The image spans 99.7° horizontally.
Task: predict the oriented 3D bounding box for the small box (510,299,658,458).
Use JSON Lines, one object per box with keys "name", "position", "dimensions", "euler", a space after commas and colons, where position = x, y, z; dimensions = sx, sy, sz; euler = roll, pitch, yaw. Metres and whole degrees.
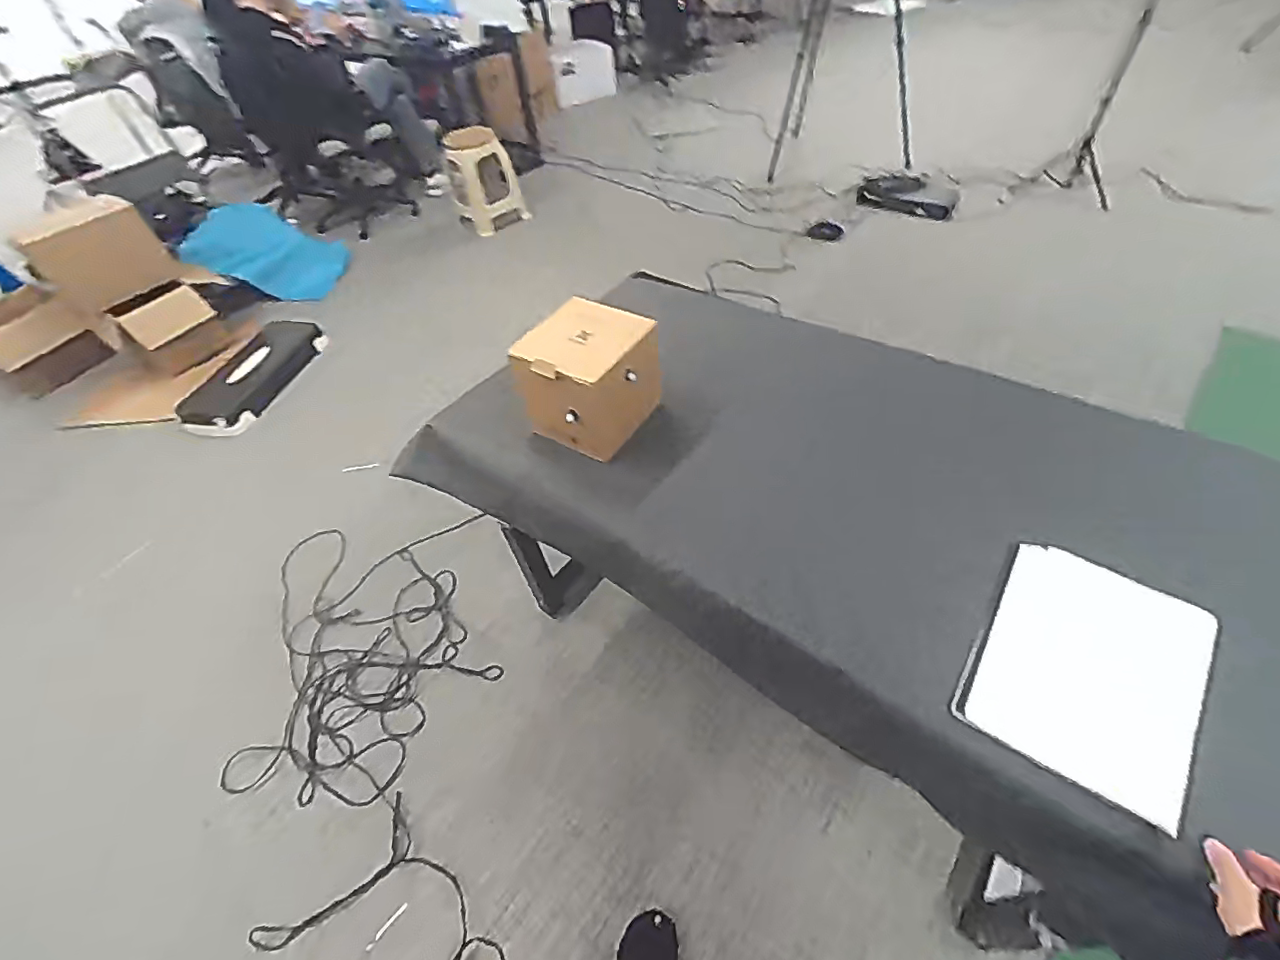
{"name": "small box", "position": [-0.078, -0.165, 0.888], "dimensions": [0.168, 0.176, 0.179], "euler": [25, 55, 24]}
